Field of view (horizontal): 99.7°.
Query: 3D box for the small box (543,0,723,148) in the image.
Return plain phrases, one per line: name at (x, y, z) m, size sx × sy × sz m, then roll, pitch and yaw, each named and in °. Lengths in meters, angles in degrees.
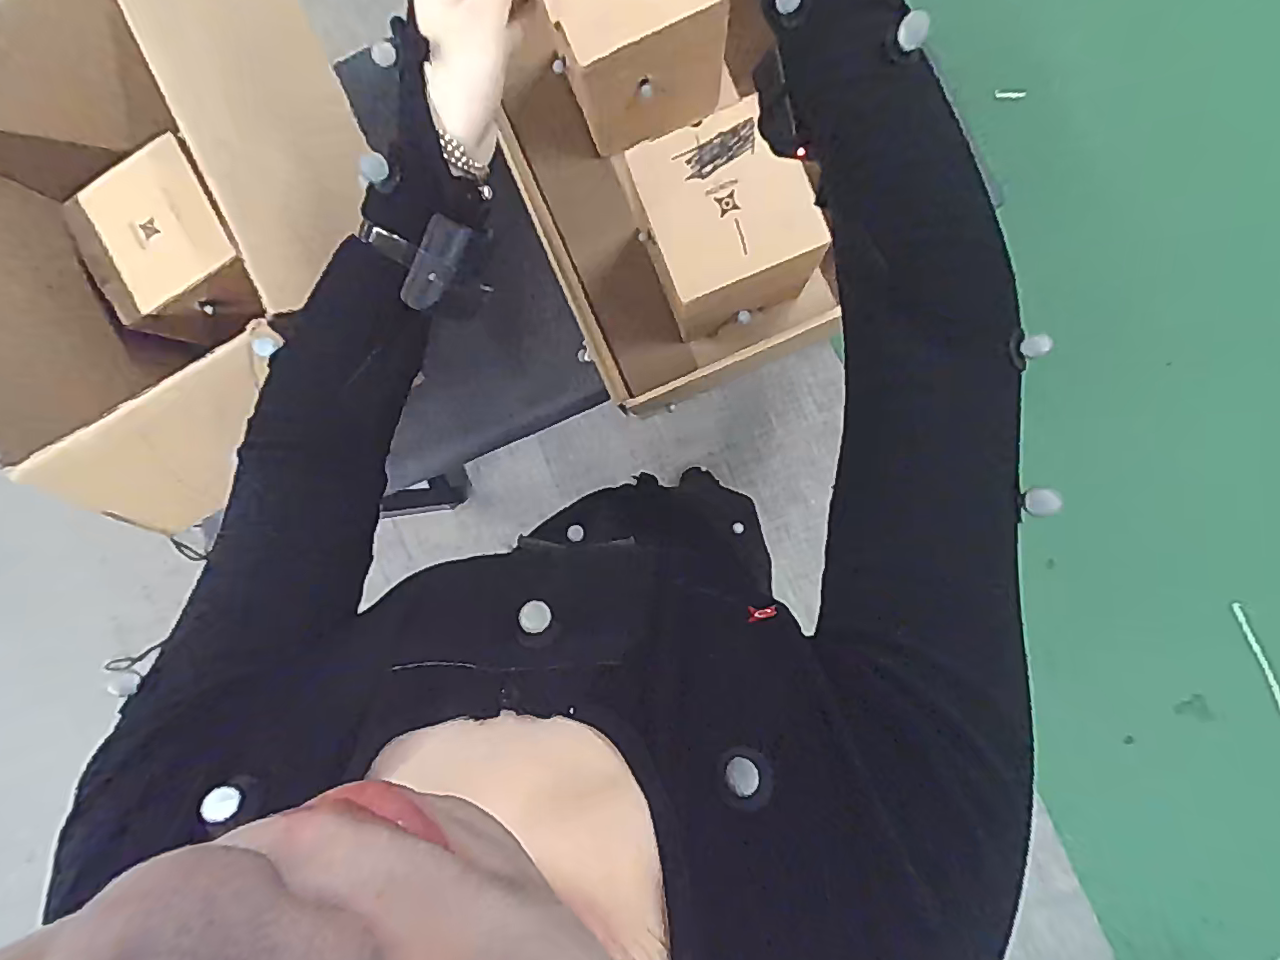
small box at (-0.011, -0.543, 0.646) m, size 0.179 × 0.176 × 0.168 m, roll -22°, pitch 91°, yaw 5°
